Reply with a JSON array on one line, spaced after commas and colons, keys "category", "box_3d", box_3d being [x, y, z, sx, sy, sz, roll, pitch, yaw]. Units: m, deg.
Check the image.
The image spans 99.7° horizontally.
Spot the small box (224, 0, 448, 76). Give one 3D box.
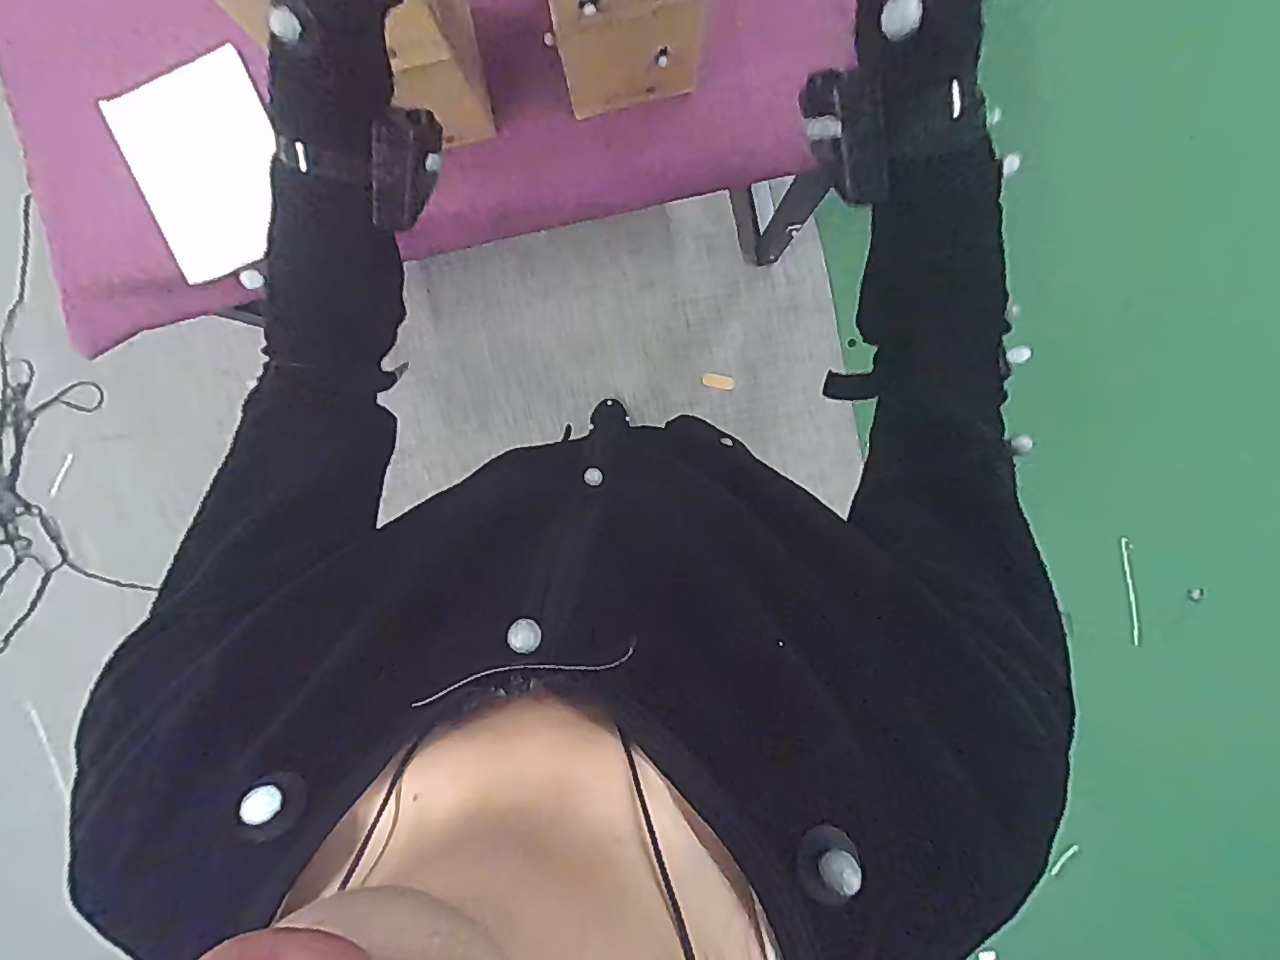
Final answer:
[{"category": "small box", "box_3d": [-0.293, -0.508, 0.487, 0.168, 0.176, 0.179, -11, 94, 2]}]

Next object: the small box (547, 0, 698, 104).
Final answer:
[{"category": "small box", "box_3d": [-0.027, -0.585, 0.641, 0.168, 0.176, 0.179, -12, 94, 1]}]

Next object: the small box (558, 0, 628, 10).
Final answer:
[{"category": "small box", "box_3d": [-0.024, -0.569, 0.478, 0.168, 0.176, 0.179, -13, 93, 1]}]
